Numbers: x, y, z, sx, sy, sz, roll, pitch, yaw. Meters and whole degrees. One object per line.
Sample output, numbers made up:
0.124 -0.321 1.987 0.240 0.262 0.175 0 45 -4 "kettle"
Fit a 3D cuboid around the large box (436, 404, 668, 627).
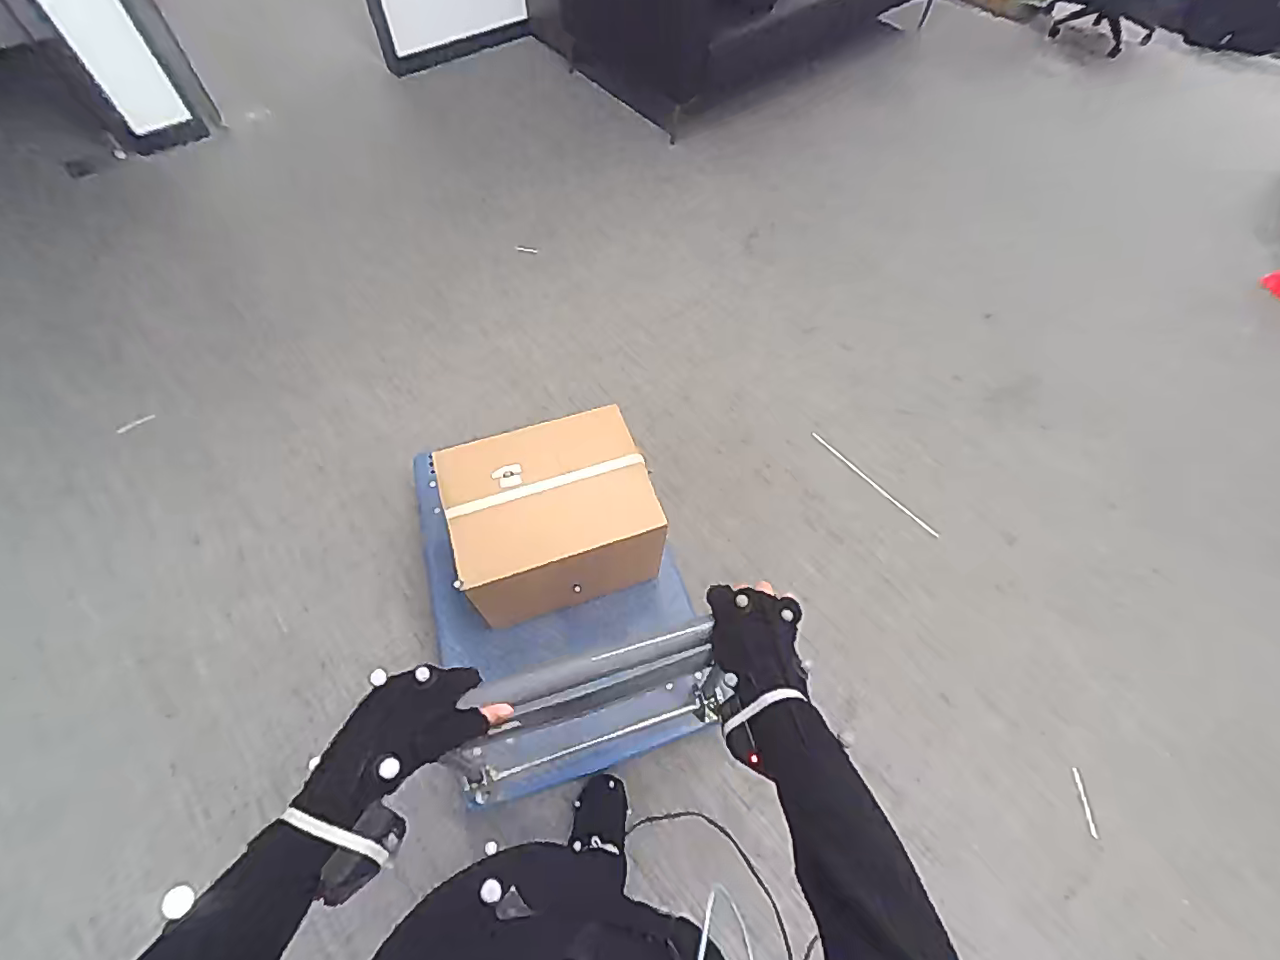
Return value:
-0.187 0.087 1.214 0.408 0.320 0.320 -18 63 -12 "large box"
